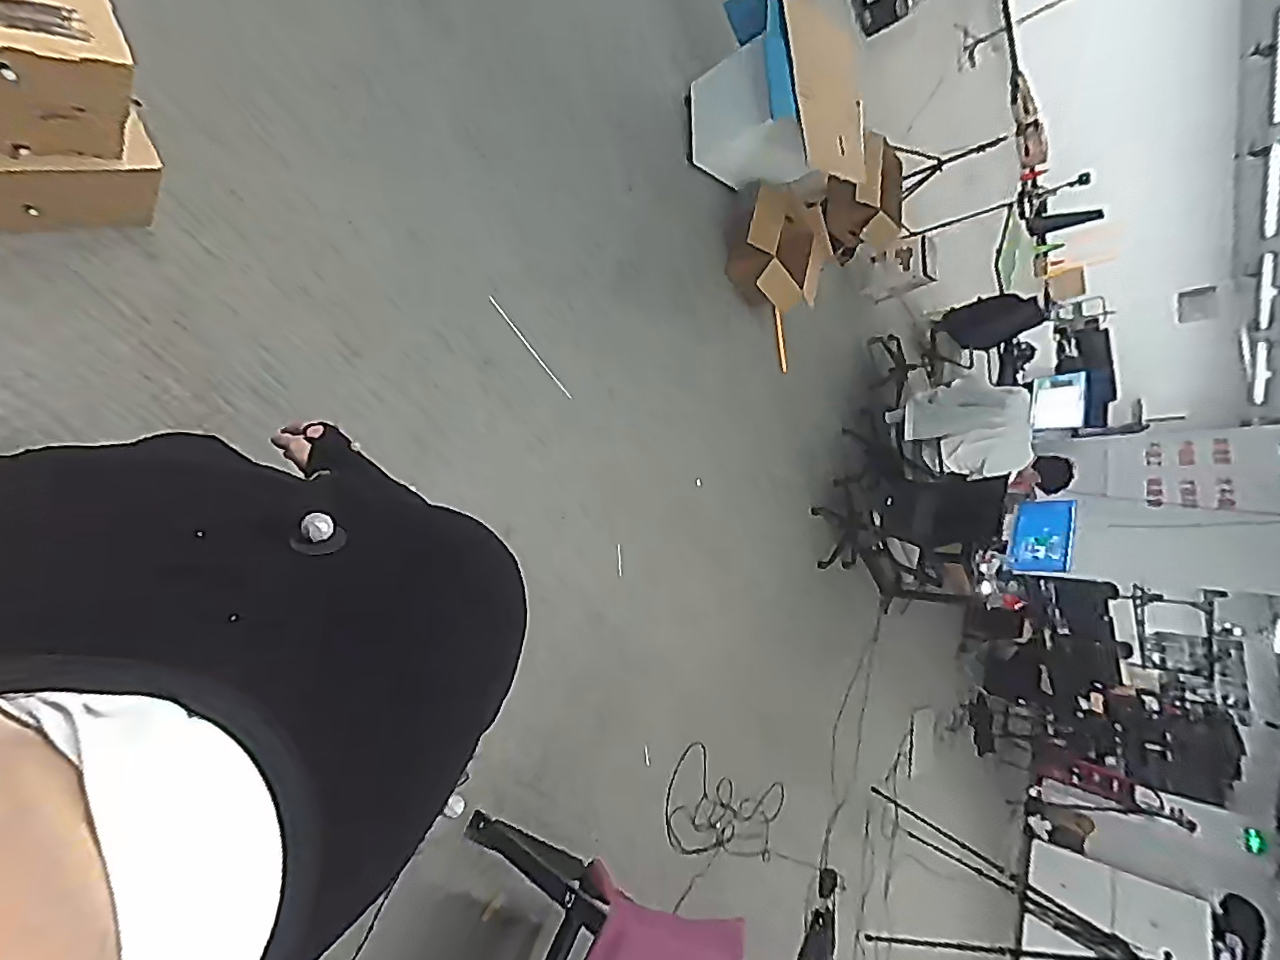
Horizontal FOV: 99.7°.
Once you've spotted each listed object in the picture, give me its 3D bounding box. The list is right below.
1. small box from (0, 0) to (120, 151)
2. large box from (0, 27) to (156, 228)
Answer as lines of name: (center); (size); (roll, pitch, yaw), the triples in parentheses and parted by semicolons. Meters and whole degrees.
small box: (-0.976, -0.654, 0.862); (0.168, 0.176, 0.179); (-28, 109, -43)
large box: (-1.207, -0.666, 0.977); (0.408, 0.320, 0.320); (-32, 111, -41)
